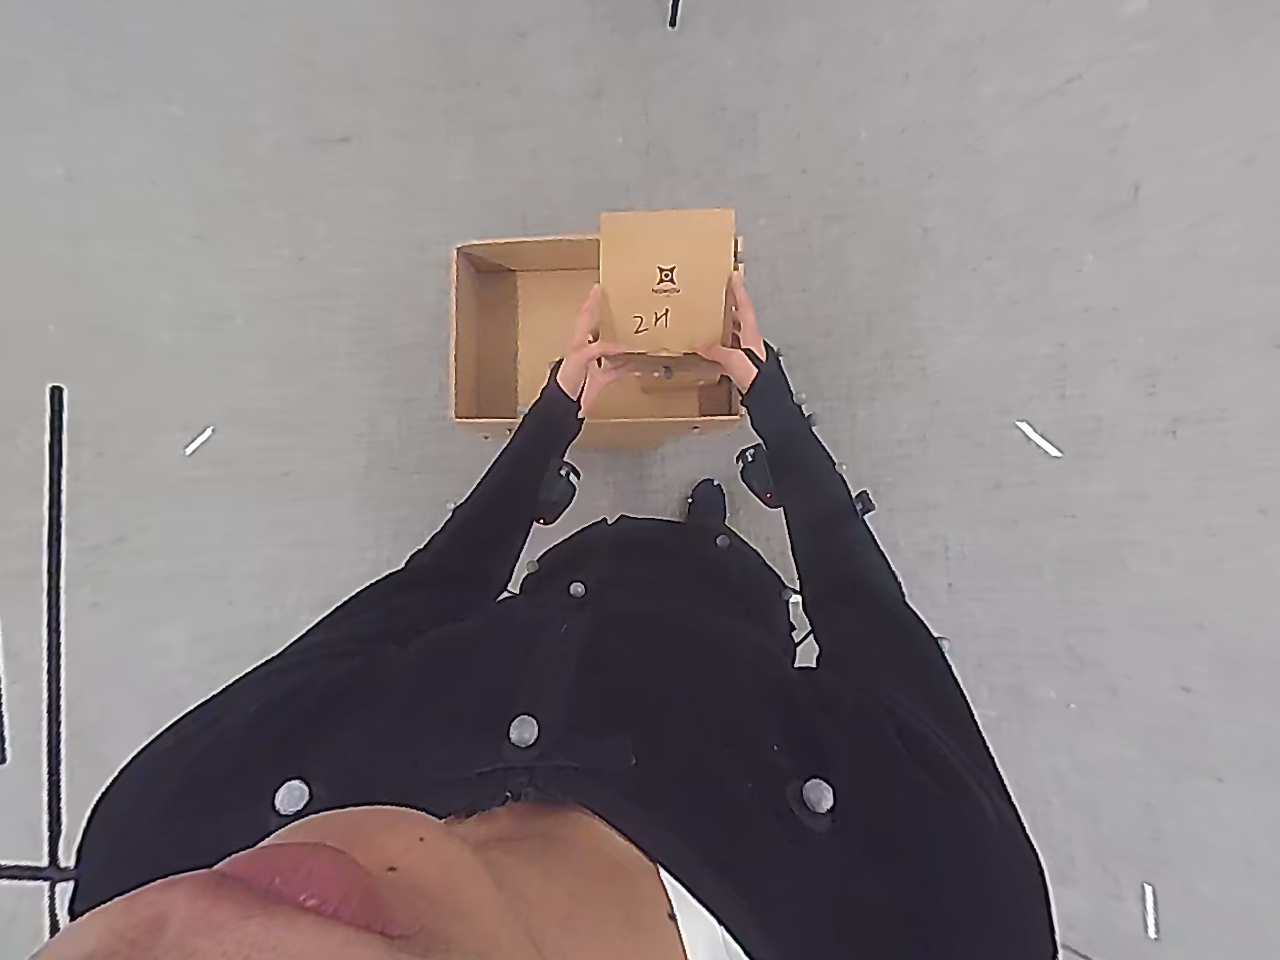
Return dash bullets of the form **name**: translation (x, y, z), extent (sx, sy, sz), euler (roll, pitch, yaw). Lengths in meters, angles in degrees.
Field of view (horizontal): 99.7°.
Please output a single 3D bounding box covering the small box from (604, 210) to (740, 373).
- **small box**: translation (0.045, -0.245, 0.740), extent (0.168, 0.176, 0.179), euler (1, 95, 6)
